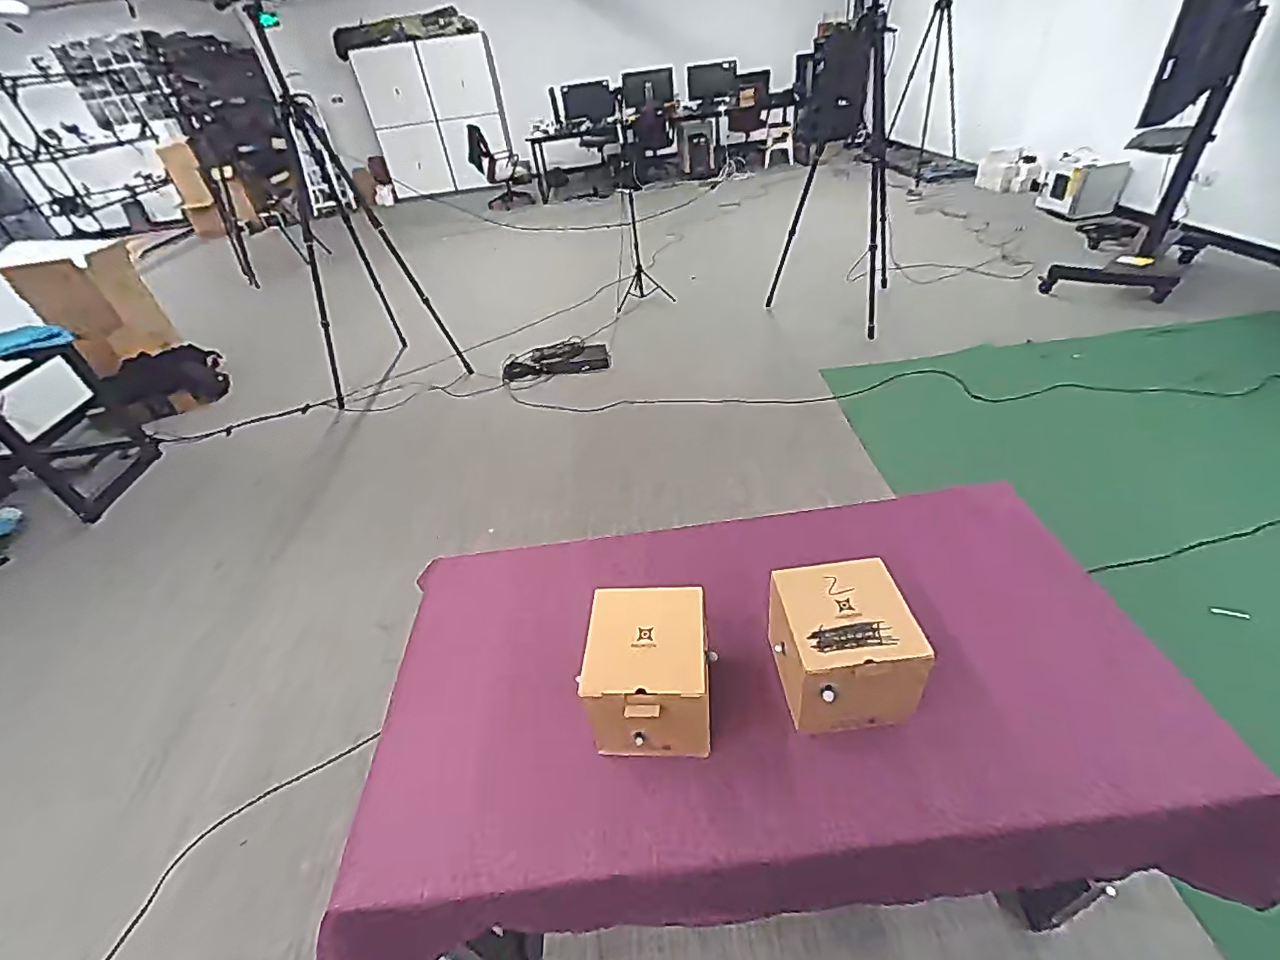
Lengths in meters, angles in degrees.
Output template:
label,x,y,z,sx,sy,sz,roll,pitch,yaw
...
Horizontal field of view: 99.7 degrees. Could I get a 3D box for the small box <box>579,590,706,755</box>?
label,x,y,z,sx,sy,sz,roll,pitch,yaw
small box,0.013,0.288,0.817,0.168,0.176,0.179,-3,40,7
